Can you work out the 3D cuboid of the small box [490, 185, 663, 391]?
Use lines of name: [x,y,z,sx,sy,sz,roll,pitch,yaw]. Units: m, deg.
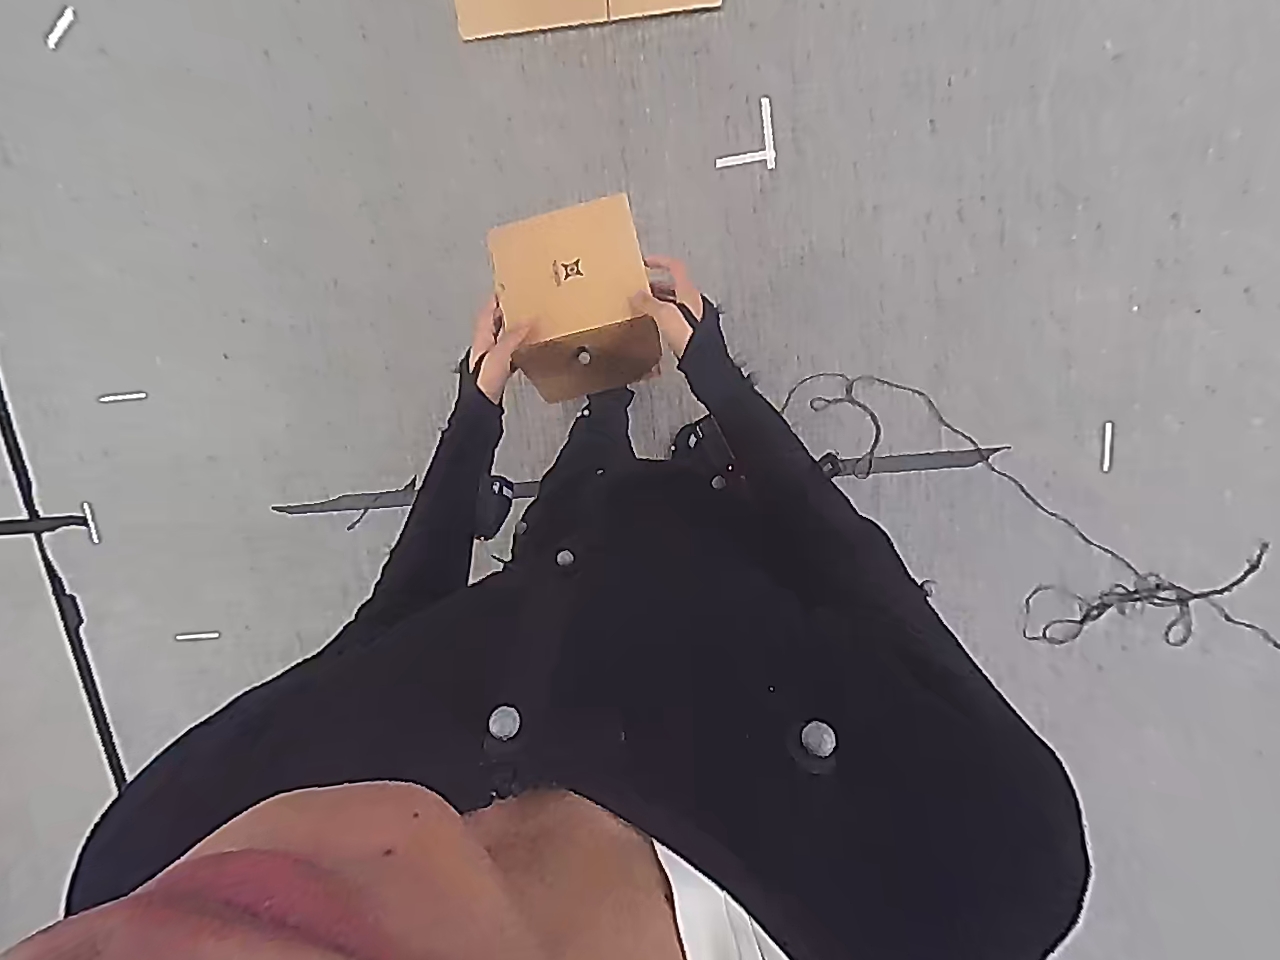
small box: [-0.071,-0.234,0.698,0.179,0.176,0.168,-14,77,4]
